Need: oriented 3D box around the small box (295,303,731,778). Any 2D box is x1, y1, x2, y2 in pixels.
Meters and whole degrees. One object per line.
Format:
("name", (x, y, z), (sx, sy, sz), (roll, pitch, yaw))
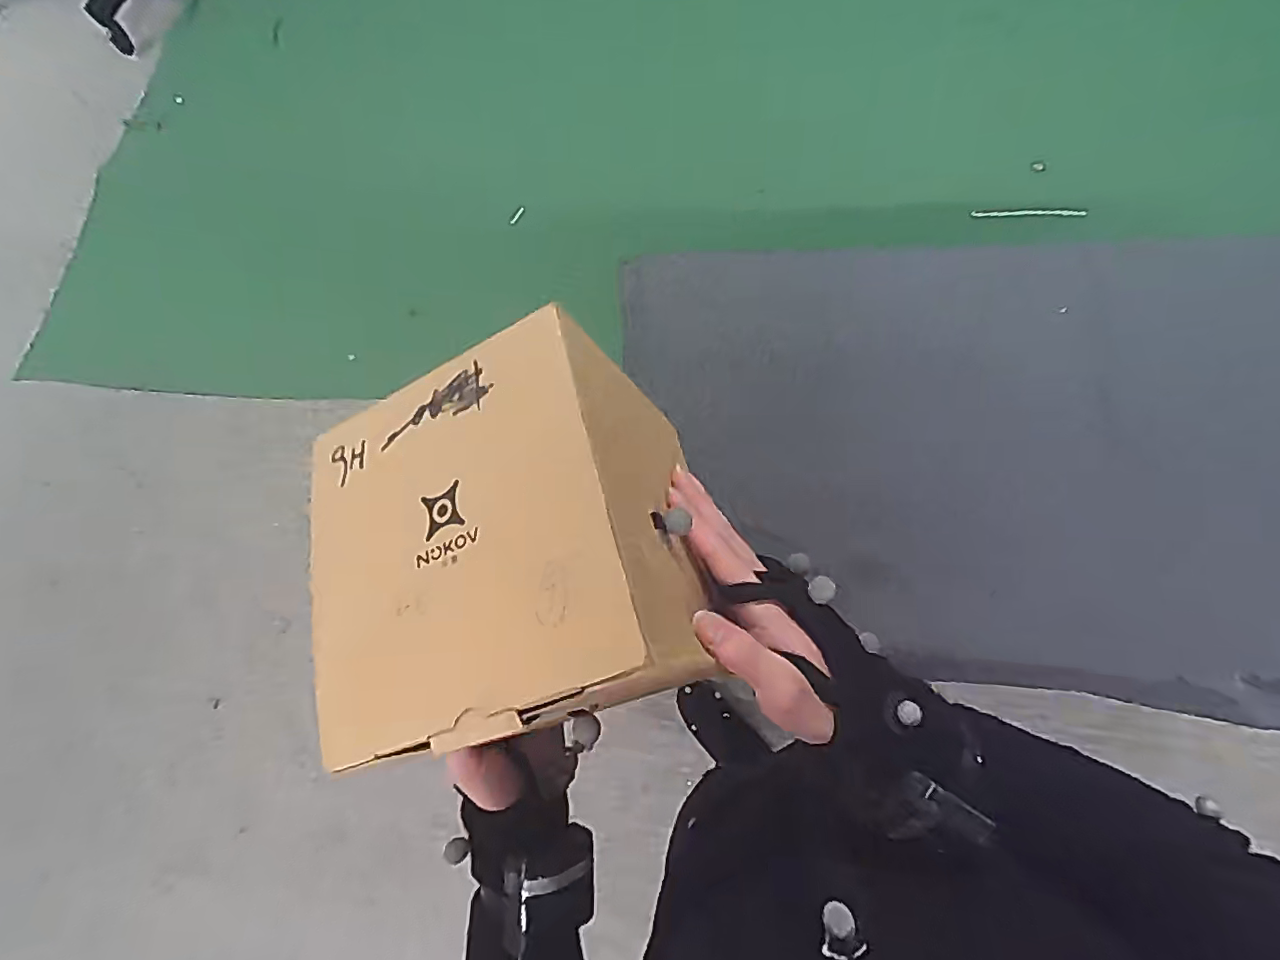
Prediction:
("small box", (-0.062, 0.042, 0.314), (0.168, 0.176, 0.179), (-24, 67, 14))
